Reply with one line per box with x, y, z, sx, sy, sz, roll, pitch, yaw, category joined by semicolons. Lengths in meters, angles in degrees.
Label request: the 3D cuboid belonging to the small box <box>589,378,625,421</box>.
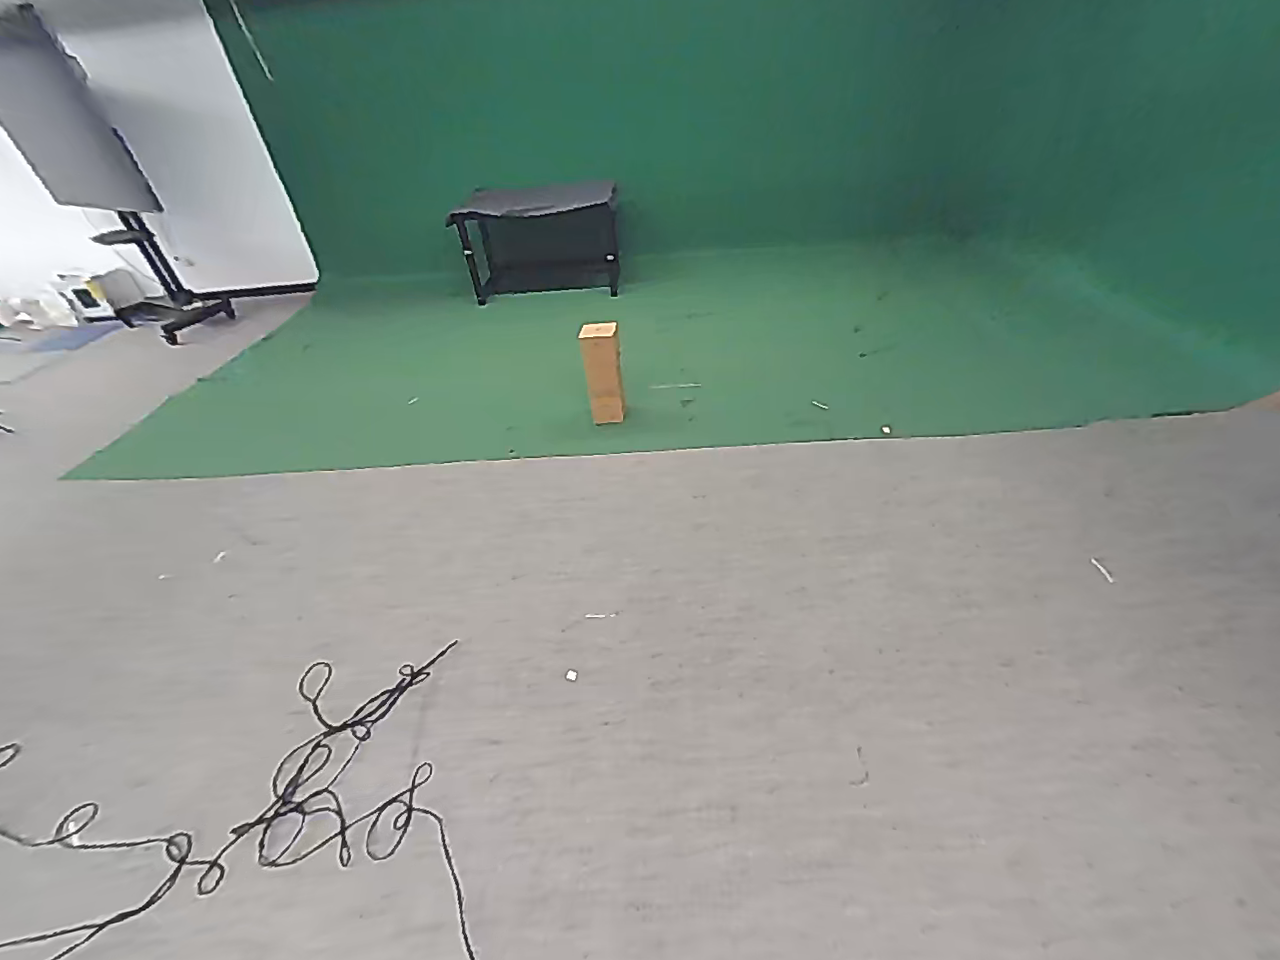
-0.174;-0.432;2.932;0.168;0.176;0.179;-3;37;5;small box

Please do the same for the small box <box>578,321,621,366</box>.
-0.201;-0.687;2.725;0.179;0.176;0.168;-1;39;7;small box
